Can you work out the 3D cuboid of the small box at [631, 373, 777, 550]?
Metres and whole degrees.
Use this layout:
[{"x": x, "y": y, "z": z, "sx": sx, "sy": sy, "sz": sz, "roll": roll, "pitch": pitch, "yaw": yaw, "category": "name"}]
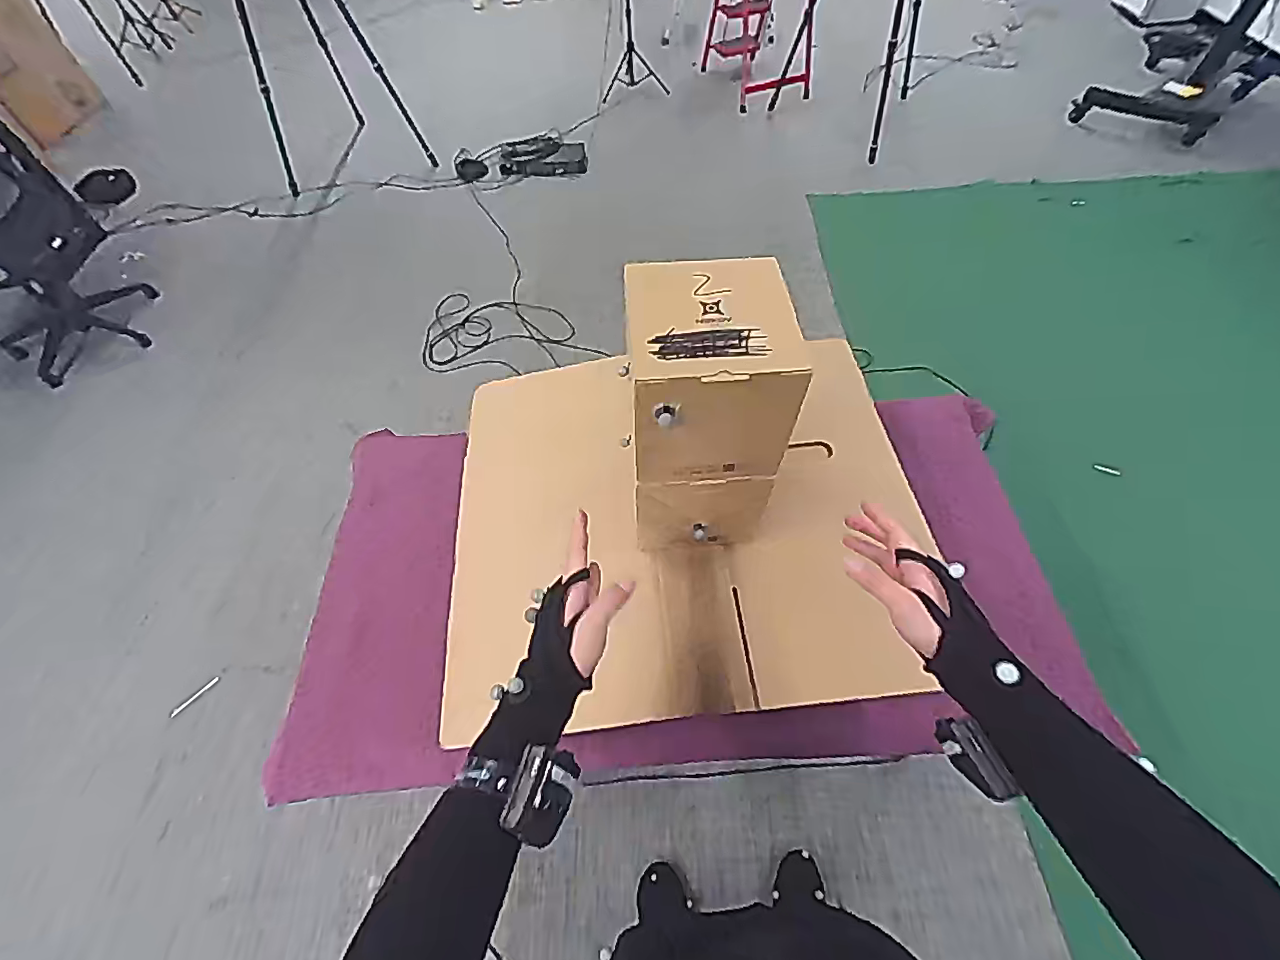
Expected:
[{"x": 0.072, "y": -0.022, "z": 0.734, "sx": 0.168, "sy": 0.176, "sz": 0.179, "roll": -4, "pitch": 57, "yaw": -2, "category": "small box"}]
